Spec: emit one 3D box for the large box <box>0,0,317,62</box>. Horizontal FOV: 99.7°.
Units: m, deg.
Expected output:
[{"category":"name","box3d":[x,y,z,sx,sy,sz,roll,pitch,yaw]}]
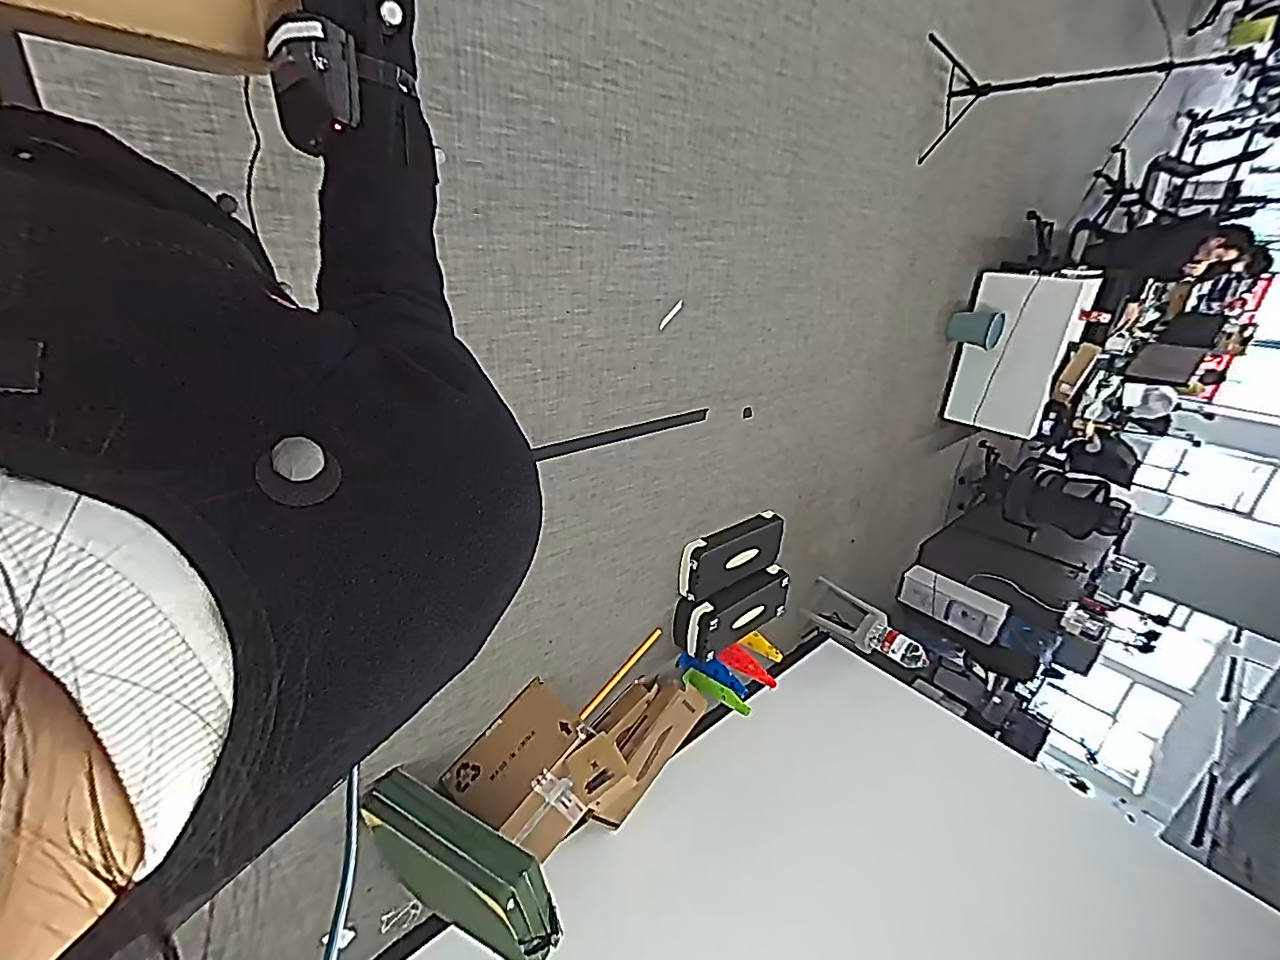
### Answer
[{"category":"large box","box3d":[-0.452,-0.448,0.271,0.408,0.320,0.320,-18,130,-41]}]
